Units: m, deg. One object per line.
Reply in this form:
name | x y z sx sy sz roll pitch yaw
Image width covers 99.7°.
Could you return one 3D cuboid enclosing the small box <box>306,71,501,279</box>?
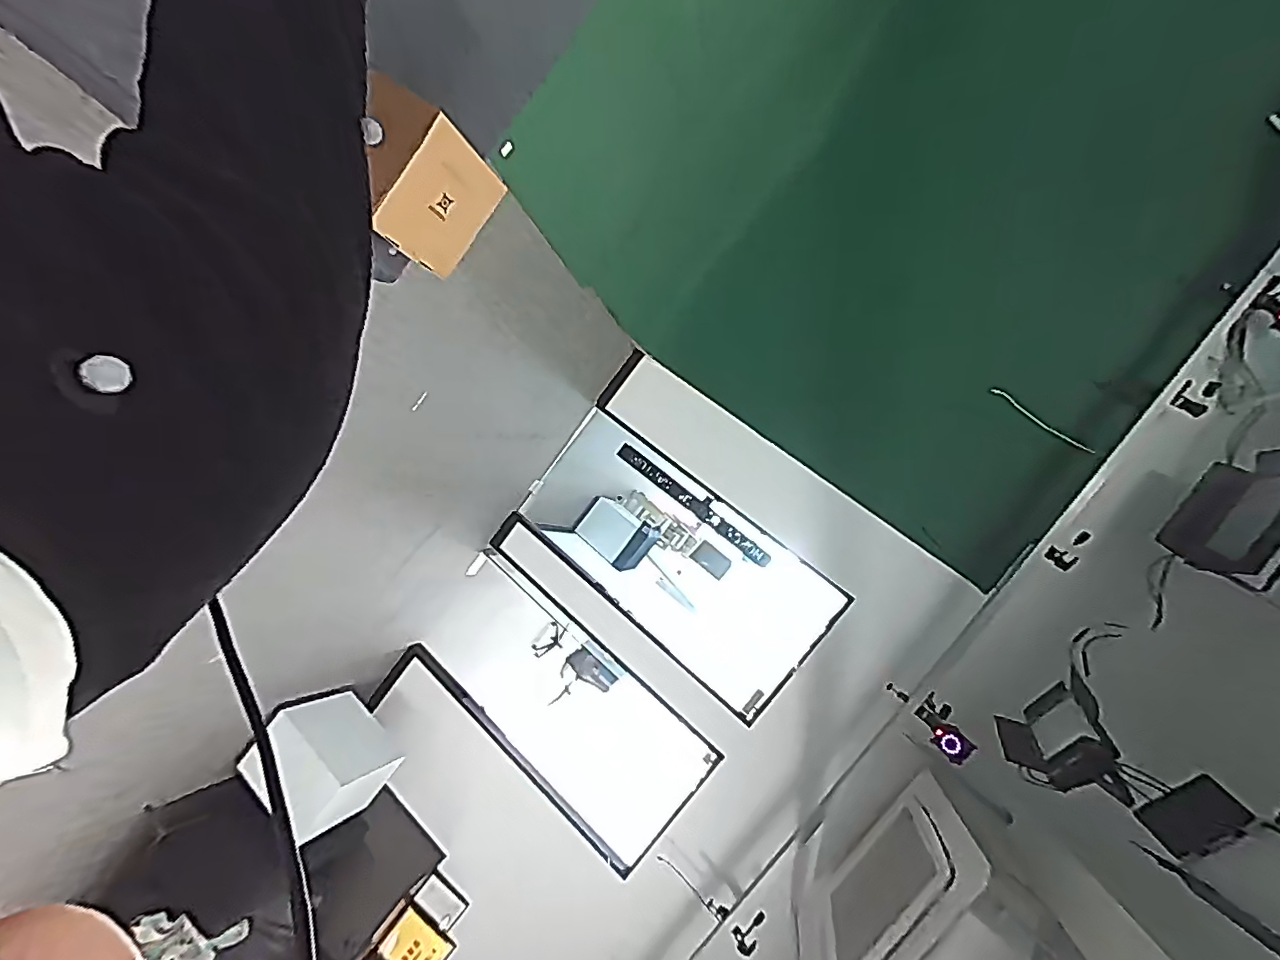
small box | -0.350 -0.443 0.799 0.179 0.176 0.168 -54 164 5
